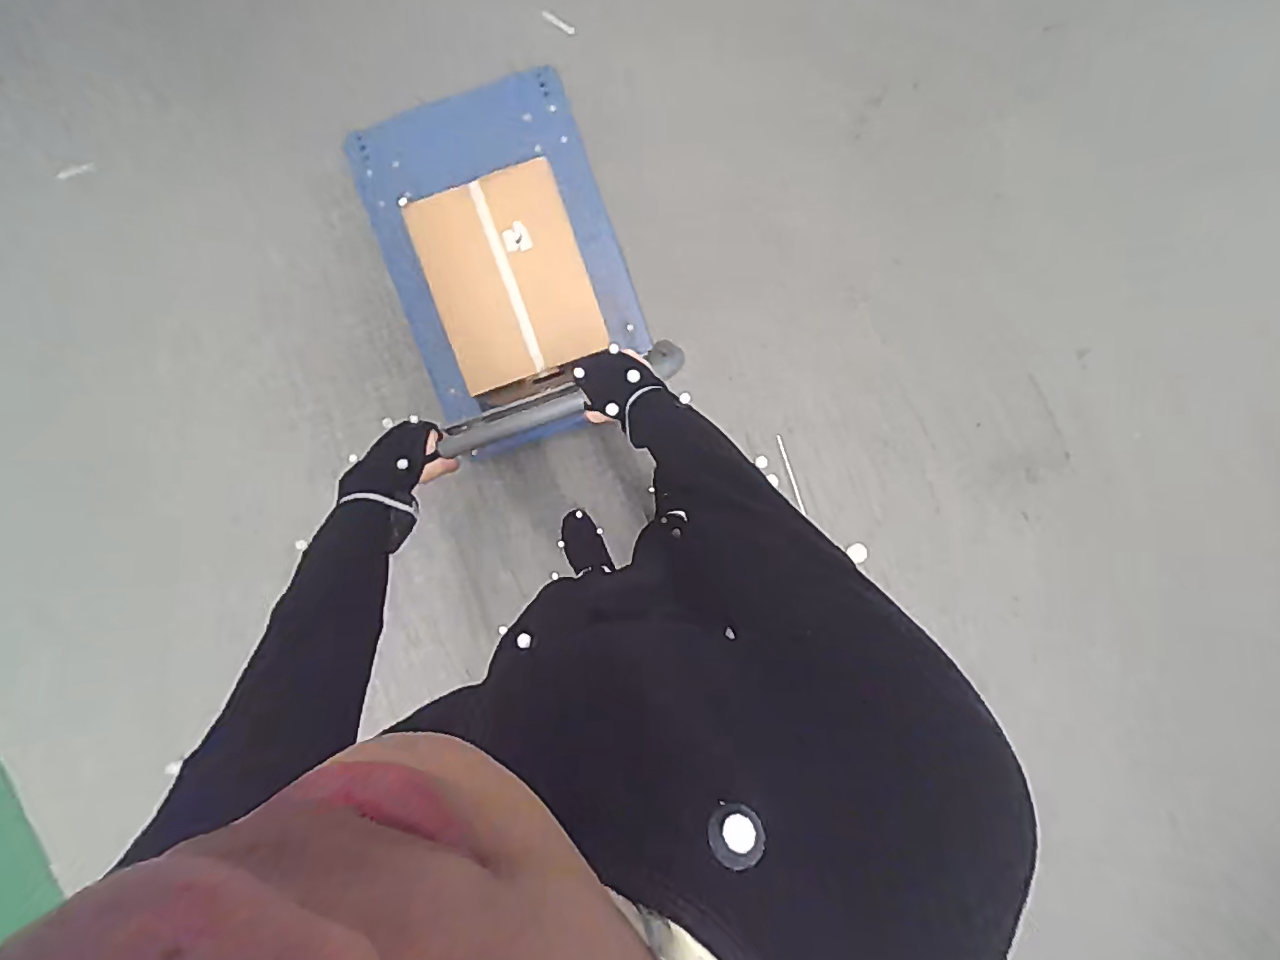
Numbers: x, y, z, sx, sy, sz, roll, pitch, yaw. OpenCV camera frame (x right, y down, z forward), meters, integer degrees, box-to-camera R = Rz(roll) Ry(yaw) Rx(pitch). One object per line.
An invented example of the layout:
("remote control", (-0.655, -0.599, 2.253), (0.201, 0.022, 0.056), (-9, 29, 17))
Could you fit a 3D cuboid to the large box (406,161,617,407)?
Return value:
("large box", (-0.264, -0.417, 1.248), (0.320, 0.320, 0.408), (-19, 93, -1))
